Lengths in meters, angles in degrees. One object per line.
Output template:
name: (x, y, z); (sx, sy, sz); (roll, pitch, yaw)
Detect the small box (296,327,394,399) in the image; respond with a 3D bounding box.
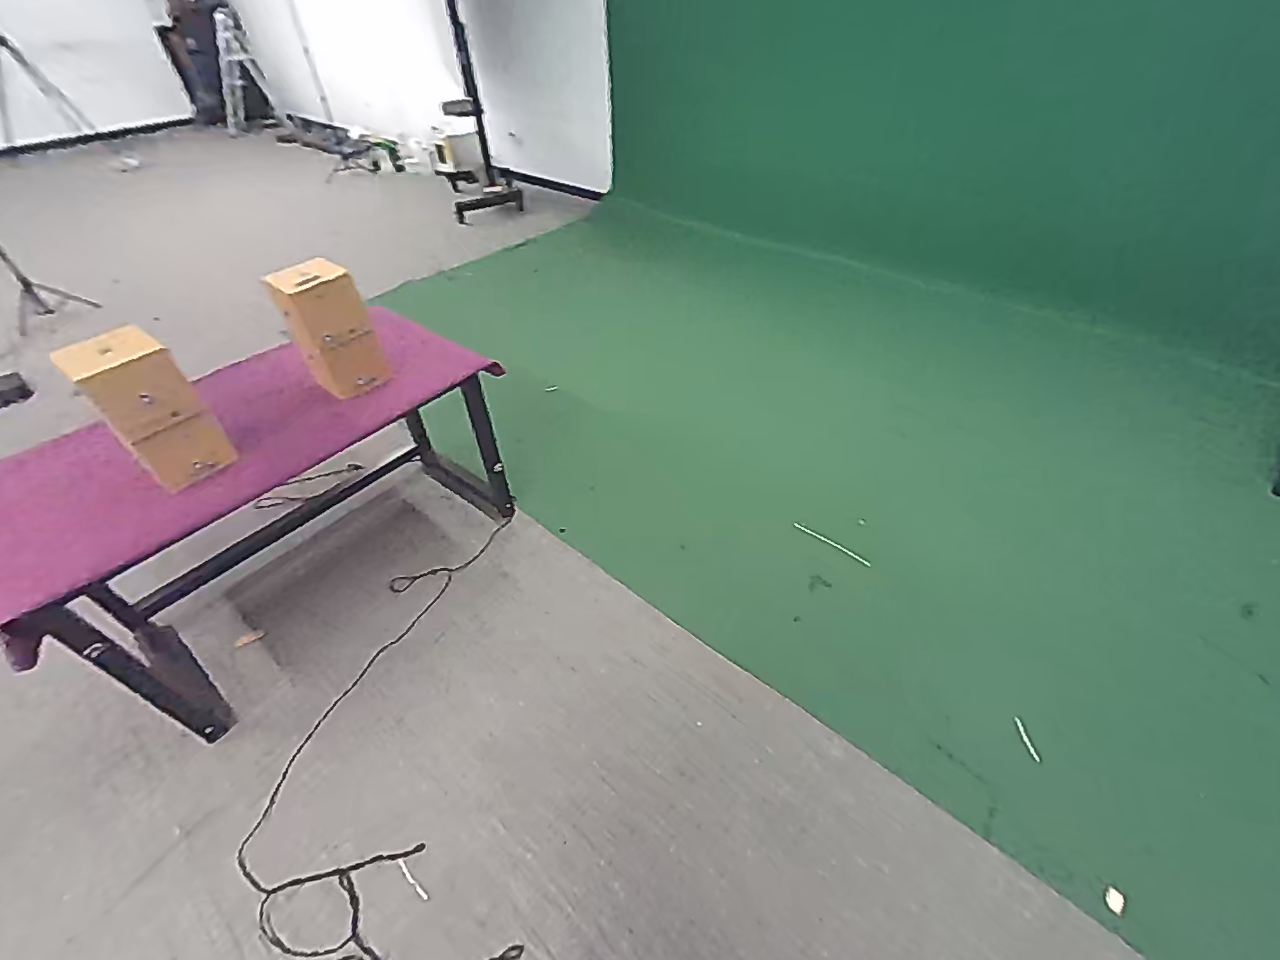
small box: (-0.863, -0.364, 1.592); (0.179, 0.176, 0.168); (30, 54, 29)

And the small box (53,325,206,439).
small box: (-1.131, -0.216, 1.212); (0.179, 0.176, 0.168); (27, 51, 27)

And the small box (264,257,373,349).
small box: (-0.868, -0.479, 1.475); (0.179, 0.176, 0.168); (29, 53, 30)
